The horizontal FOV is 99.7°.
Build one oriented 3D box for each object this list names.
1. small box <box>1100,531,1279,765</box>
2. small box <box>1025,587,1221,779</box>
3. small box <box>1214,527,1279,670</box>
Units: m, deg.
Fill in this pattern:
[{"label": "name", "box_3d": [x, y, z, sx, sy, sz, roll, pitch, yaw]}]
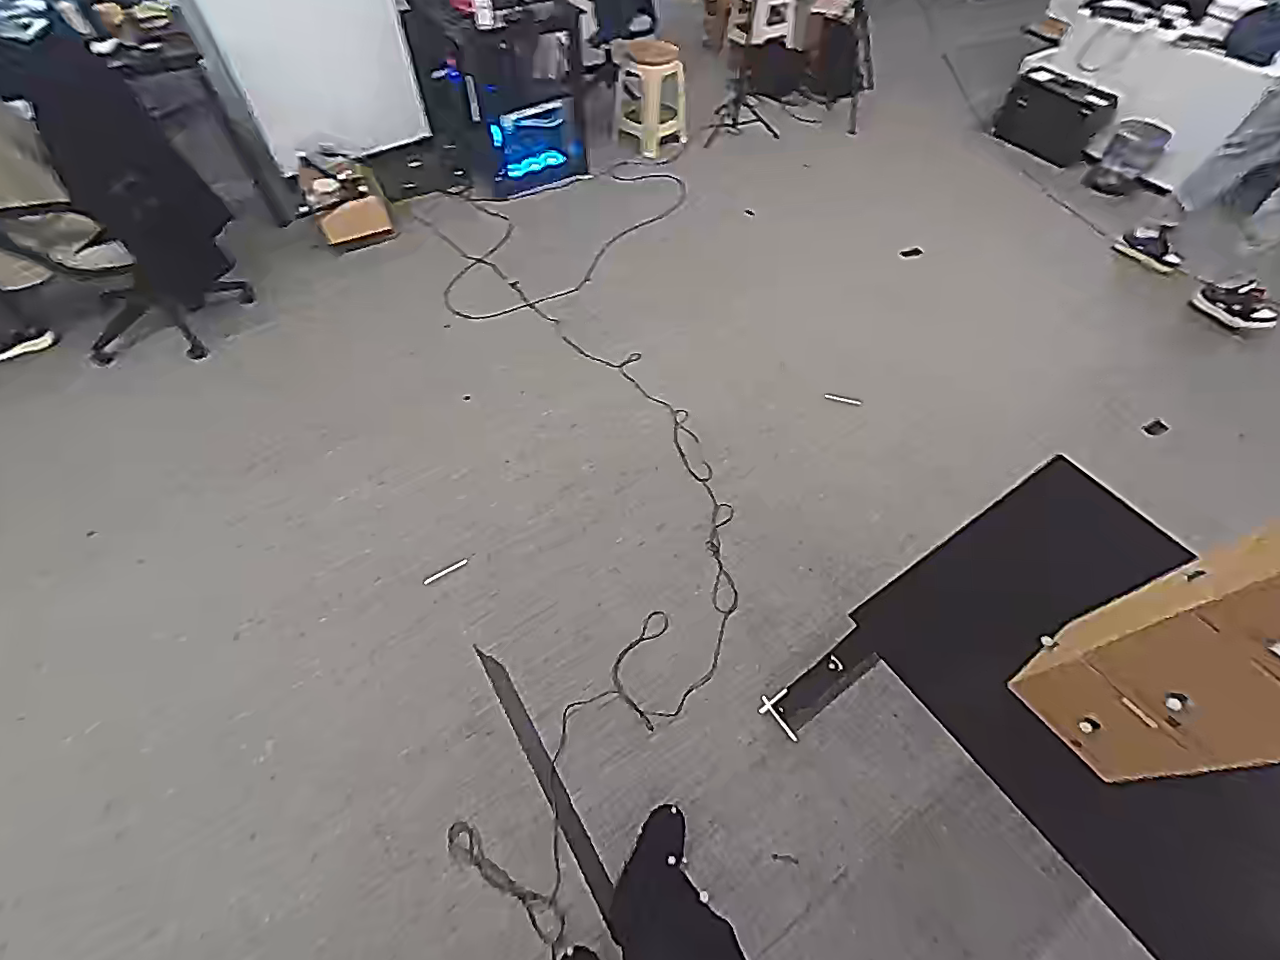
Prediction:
[{"label": "small box", "box_3d": [0.696, 0.195, 0.621, 0.179, 0.176, 0.168, -30, 61, -19]}, {"label": "small box", "box_3d": [0.692, 0.288, 0.757, 0.179, 0.176, 0.168, -31, 62, -19]}, {"label": "small box", "box_3d": [0.698, 0.105, 0.486, 0.179, 0.176, 0.168, -30, 60, -19]}]
